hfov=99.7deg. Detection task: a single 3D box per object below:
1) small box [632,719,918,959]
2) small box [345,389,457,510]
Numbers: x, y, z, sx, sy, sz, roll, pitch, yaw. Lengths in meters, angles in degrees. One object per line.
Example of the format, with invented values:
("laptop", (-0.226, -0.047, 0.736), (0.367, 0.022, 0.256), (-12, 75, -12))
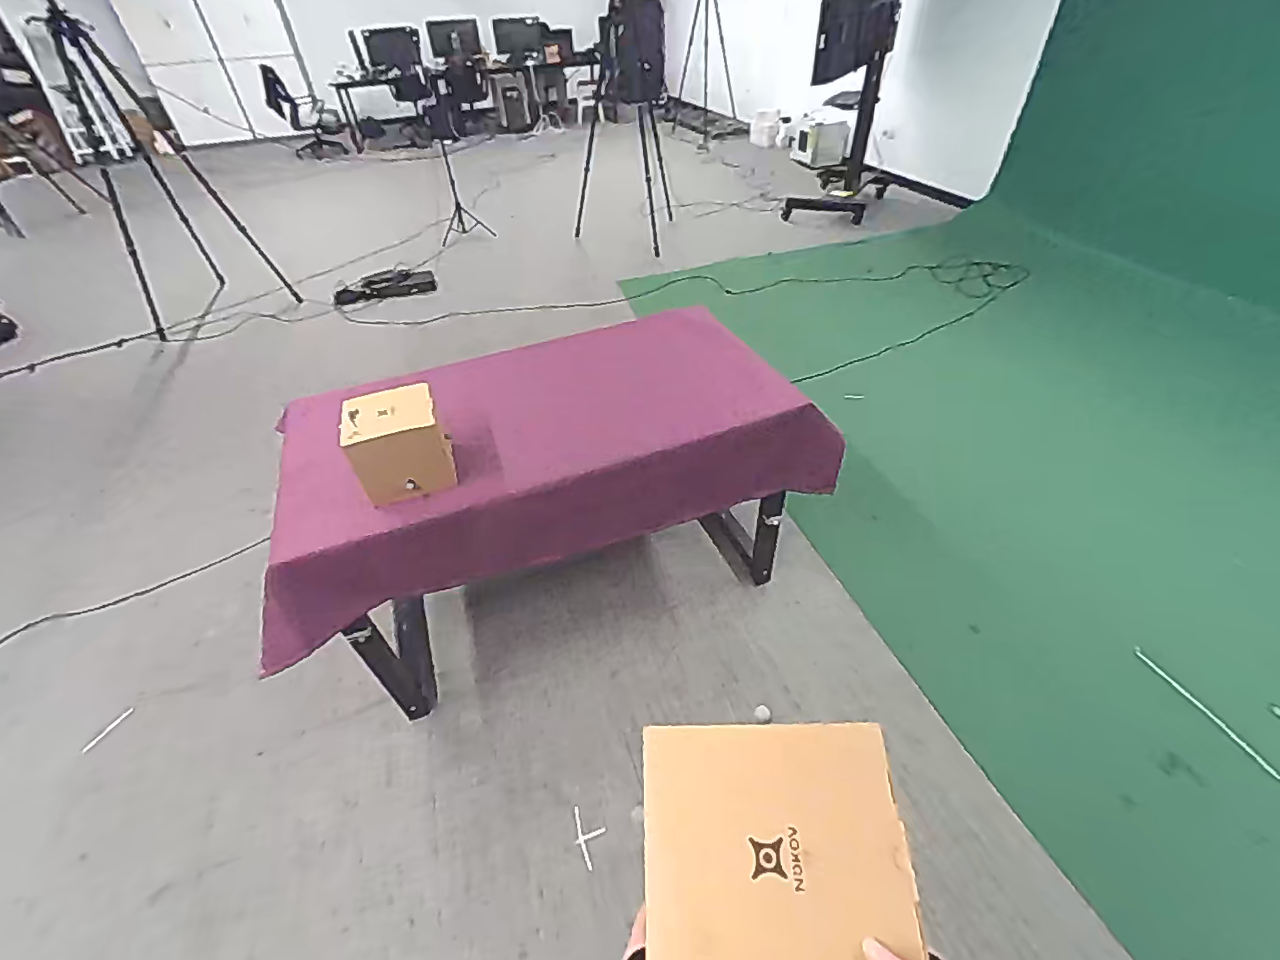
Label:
("small box", (0.088, 0.289, 0.428), (0.179, 0.176, 0.168), (-3, 60, 3))
("small box", (-0.494, -0.064, 1.140), (0.179, 0.176, 0.168), (-16, 43, -13))
